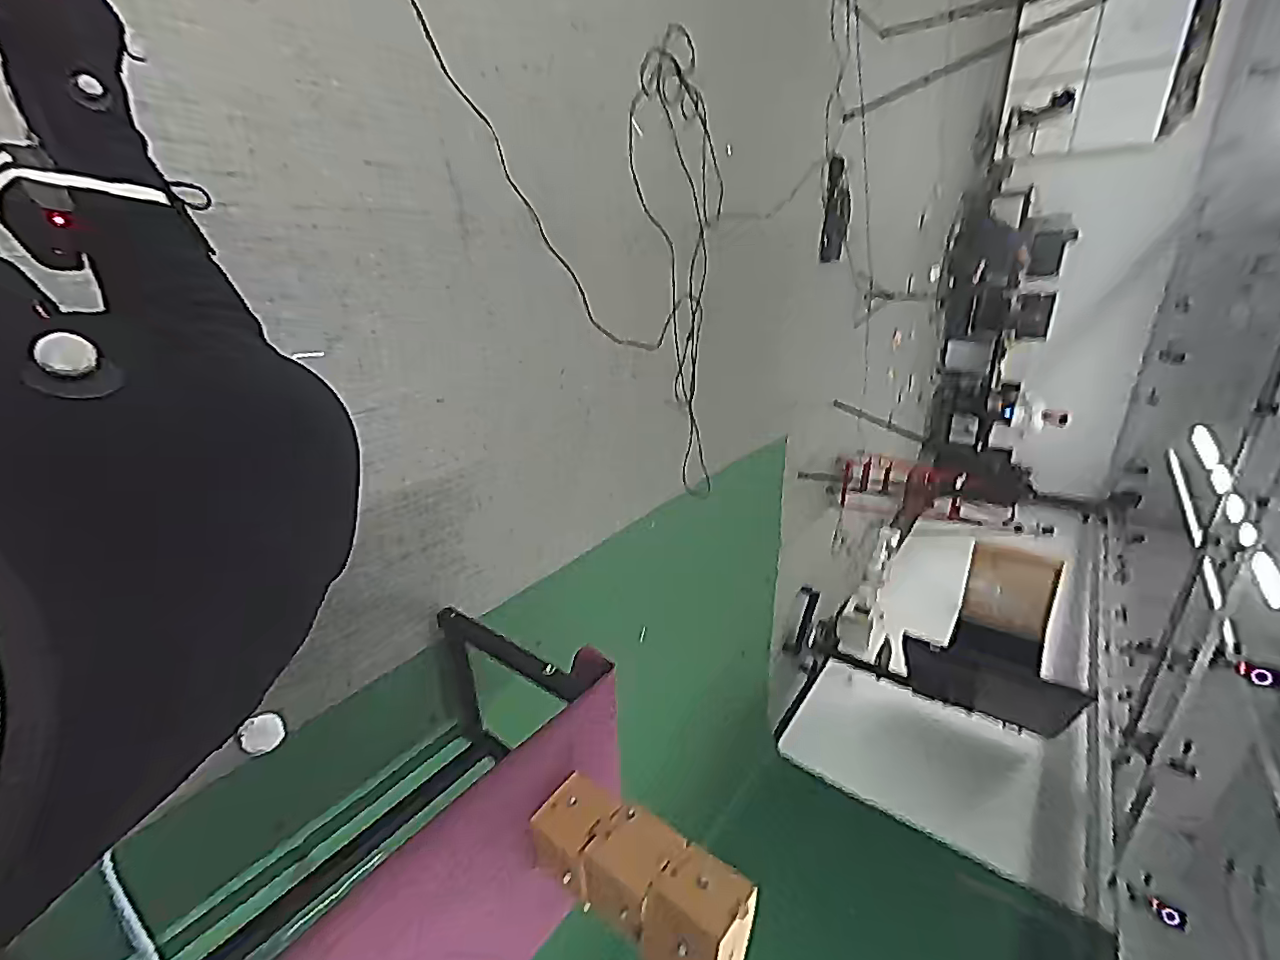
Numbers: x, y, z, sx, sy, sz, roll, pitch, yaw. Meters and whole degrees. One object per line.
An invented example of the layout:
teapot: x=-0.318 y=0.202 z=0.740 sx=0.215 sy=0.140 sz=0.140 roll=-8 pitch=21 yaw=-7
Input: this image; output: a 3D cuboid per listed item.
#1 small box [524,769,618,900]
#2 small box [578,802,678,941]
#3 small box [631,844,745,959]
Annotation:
small box: x=-0.164 y=0.863 z=1.333 sx=0.168 sy=0.176 sz=0.179 roll=-30 pitch=125 yaw=-45
small box: x=-0.029 y=0.880 z=1.239 sx=0.168 sy=0.176 sz=0.179 roll=-24 pitch=121 yaw=-47
small box: x=0.100 y=0.917 z=1.144 sx=0.168 sy=0.176 sz=0.179 roll=1 pitch=100 yaw=-53
